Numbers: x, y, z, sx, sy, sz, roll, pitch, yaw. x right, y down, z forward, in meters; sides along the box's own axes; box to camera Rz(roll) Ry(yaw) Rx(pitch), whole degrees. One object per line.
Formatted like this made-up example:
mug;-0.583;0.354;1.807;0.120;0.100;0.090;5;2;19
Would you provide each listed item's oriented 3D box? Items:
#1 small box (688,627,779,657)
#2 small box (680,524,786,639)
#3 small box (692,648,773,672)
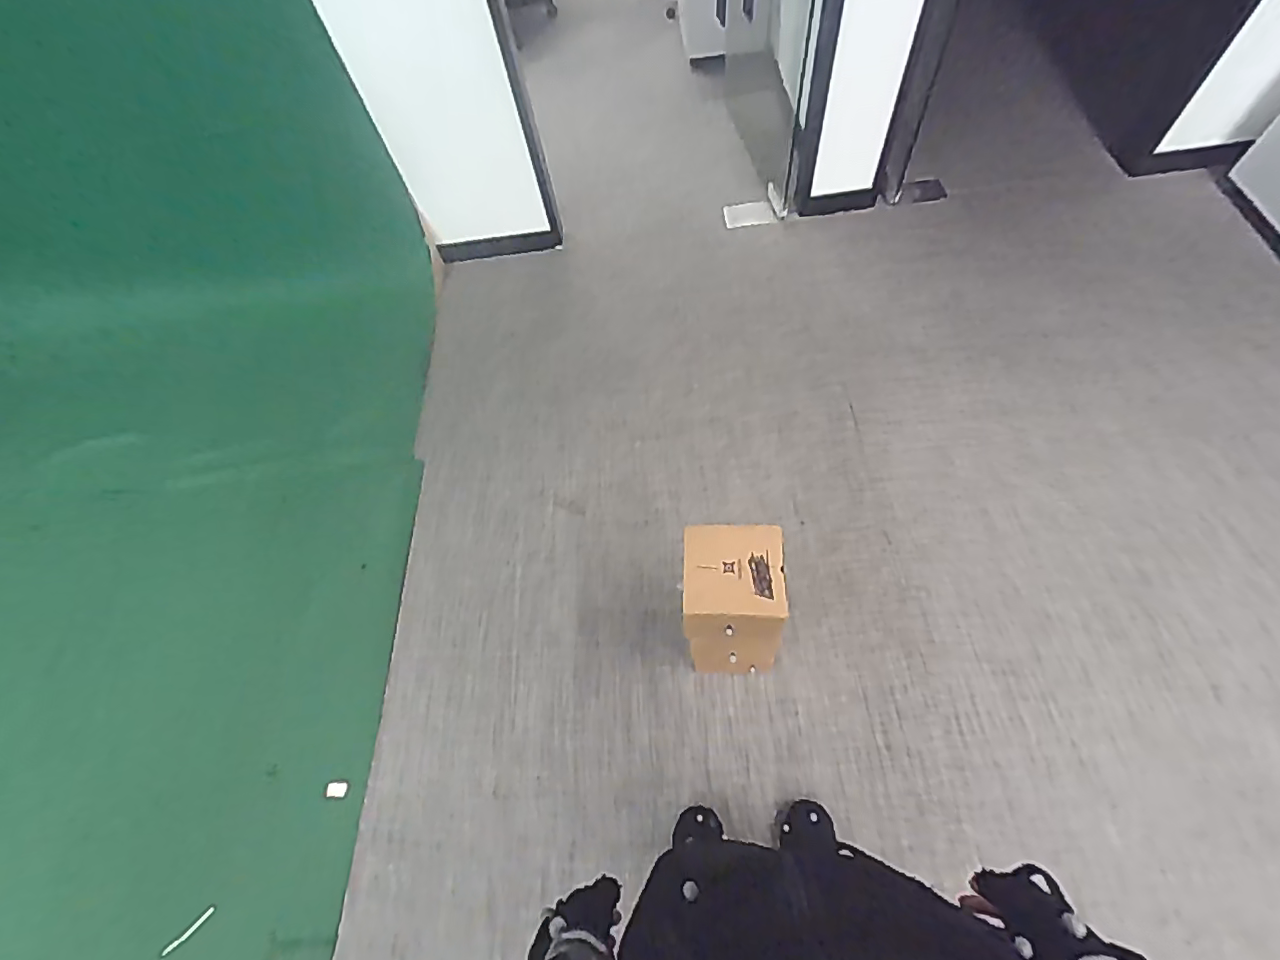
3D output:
small box;0.191;0.274;1.146;0.179;0.176;0.168;-1;60;6
small box;0.170;0.193;1.005;0.179;0.176;0.168;0;61;9
small box;0.212;0.357;1.286;0.179;0.176;0.168;-3;60;6
